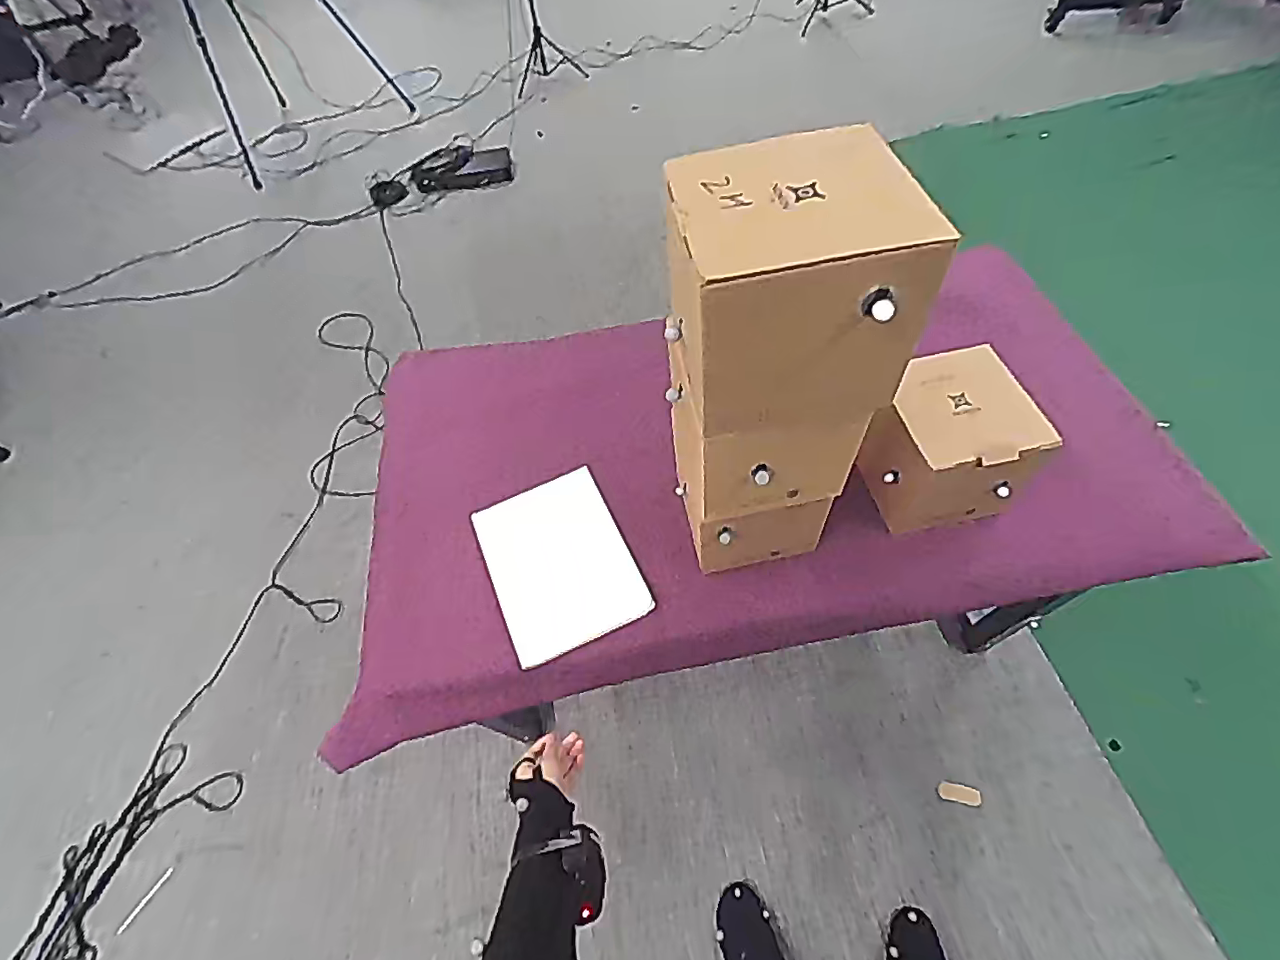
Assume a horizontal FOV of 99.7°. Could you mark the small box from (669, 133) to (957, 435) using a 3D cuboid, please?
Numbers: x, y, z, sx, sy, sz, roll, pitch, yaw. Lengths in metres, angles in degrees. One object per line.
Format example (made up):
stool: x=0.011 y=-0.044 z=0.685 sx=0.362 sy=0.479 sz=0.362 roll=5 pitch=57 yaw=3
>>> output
small box: x=0.125 y=-0.160 z=0.468 sx=0.179 sy=0.176 sz=0.168 roll=-9 pitch=55 yaw=1

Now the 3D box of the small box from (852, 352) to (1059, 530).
small box: x=0.414 y=-0.045 z=0.751 sx=0.168 sy=0.176 sz=0.179 roll=-11 pitch=56 yaw=-1

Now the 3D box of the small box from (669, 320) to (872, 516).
small box: x=0.133 y=-0.074 z=0.608 sx=0.168 sy=0.176 sz=0.179 roll=-11 pitch=56 yaw=0
